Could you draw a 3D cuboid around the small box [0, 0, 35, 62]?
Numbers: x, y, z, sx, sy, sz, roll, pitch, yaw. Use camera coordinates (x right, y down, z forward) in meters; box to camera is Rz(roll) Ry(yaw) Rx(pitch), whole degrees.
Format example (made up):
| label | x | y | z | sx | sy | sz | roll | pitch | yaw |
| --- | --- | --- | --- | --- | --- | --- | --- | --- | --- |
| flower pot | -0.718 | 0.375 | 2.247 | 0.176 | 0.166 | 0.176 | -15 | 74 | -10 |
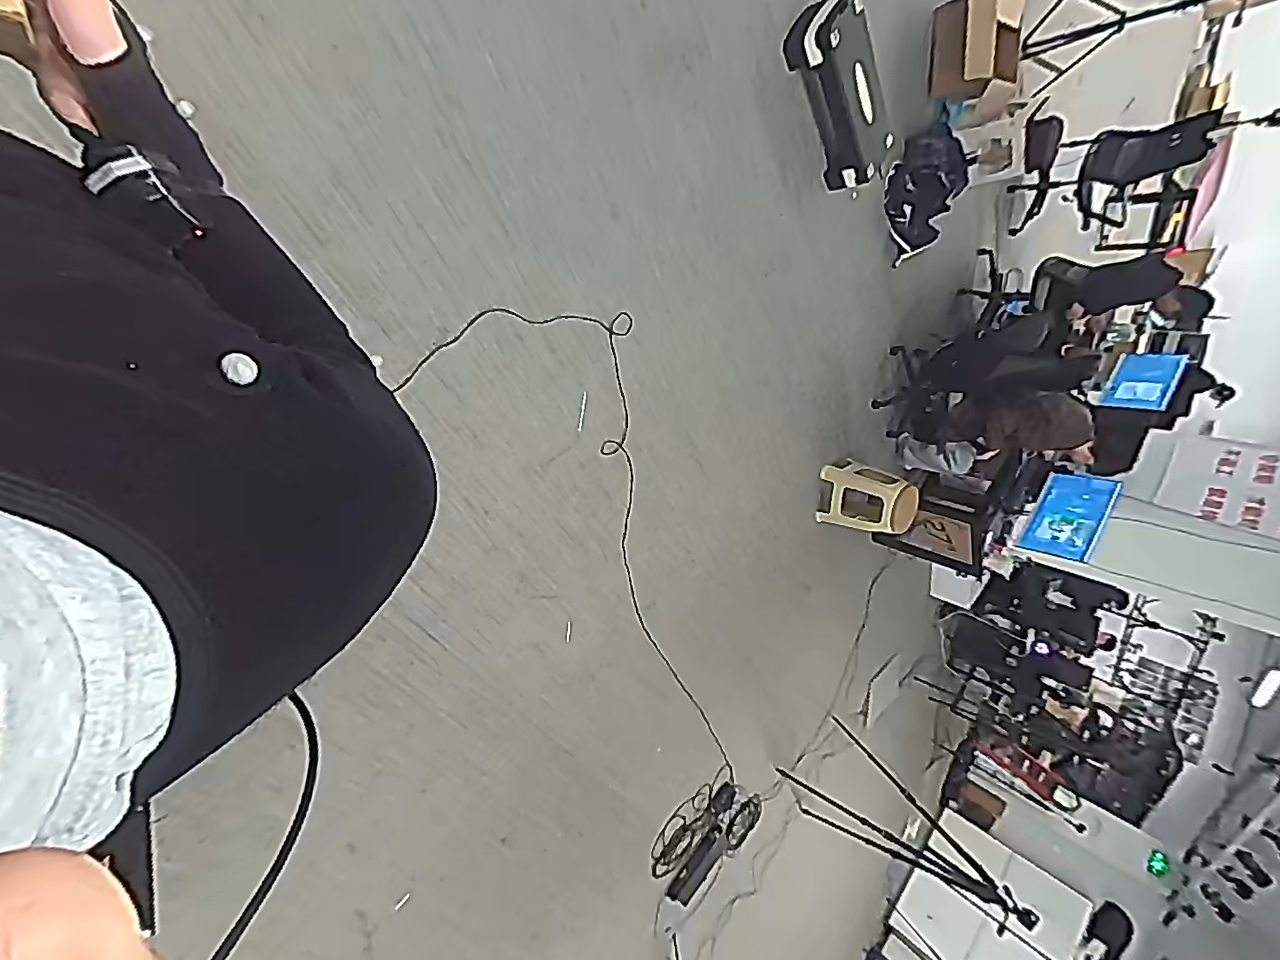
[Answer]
| label | x | y | z | sx | sy | sz | roll | pitch | yaw |
| --- | --- | --- | --- | --- | --- | --- | --- | --- | --- |
| small box | -0.437 | -0.328 | 0.257 | 0.179 | 0.176 | 0.168 | -14 | 120 | -40 |
